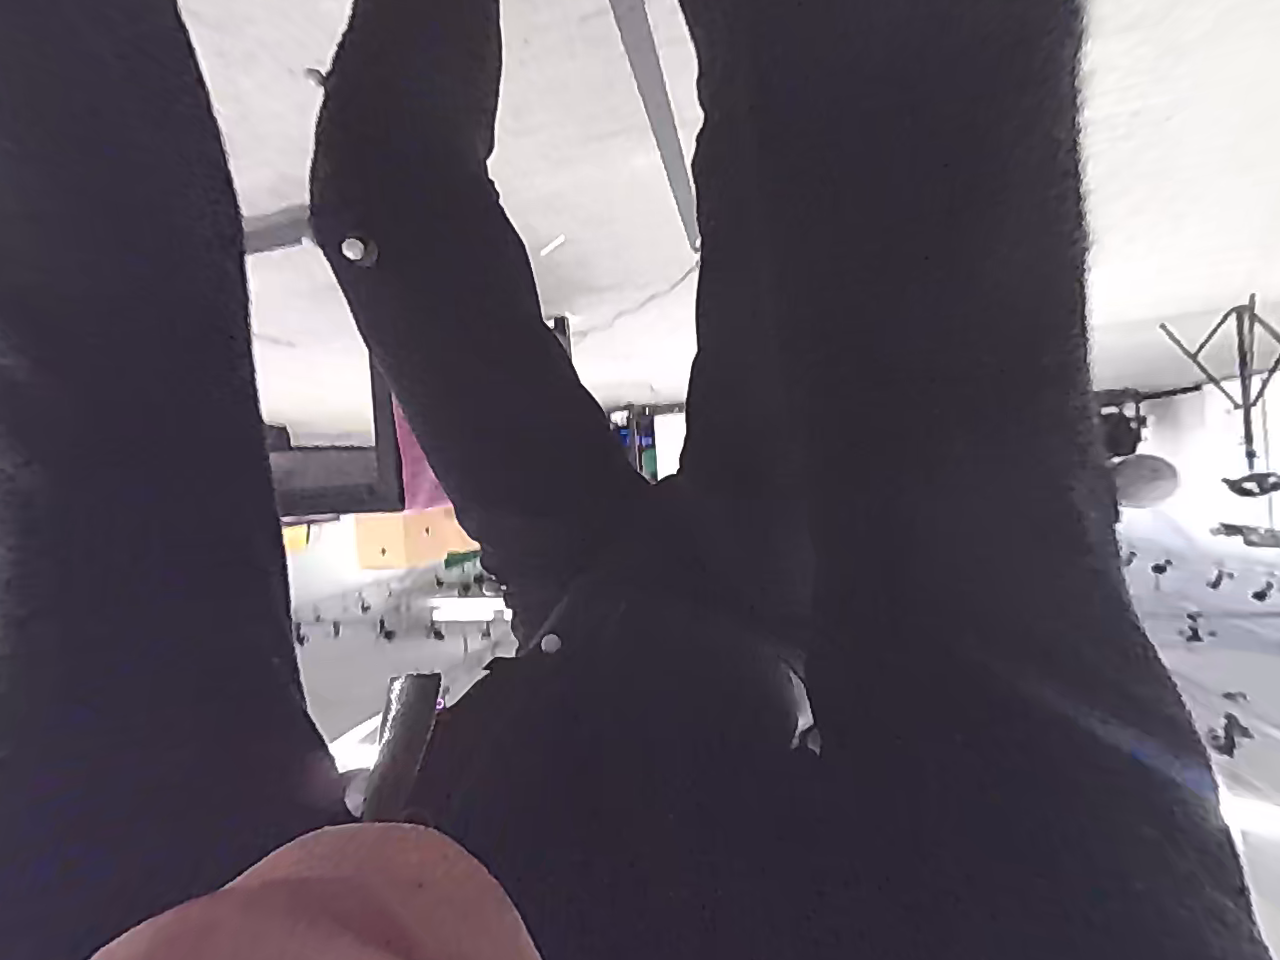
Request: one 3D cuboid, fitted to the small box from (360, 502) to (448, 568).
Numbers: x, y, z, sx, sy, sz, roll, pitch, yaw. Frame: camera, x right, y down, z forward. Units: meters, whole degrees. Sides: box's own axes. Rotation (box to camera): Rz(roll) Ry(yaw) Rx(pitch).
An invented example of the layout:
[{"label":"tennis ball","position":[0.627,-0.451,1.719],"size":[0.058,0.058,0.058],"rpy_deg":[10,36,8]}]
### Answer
[{"label":"small box","position":[-0.686,0.154,1.565],"size":[0.179,0.176,0.168],"rpy_deg":[-4,180,20]}]
